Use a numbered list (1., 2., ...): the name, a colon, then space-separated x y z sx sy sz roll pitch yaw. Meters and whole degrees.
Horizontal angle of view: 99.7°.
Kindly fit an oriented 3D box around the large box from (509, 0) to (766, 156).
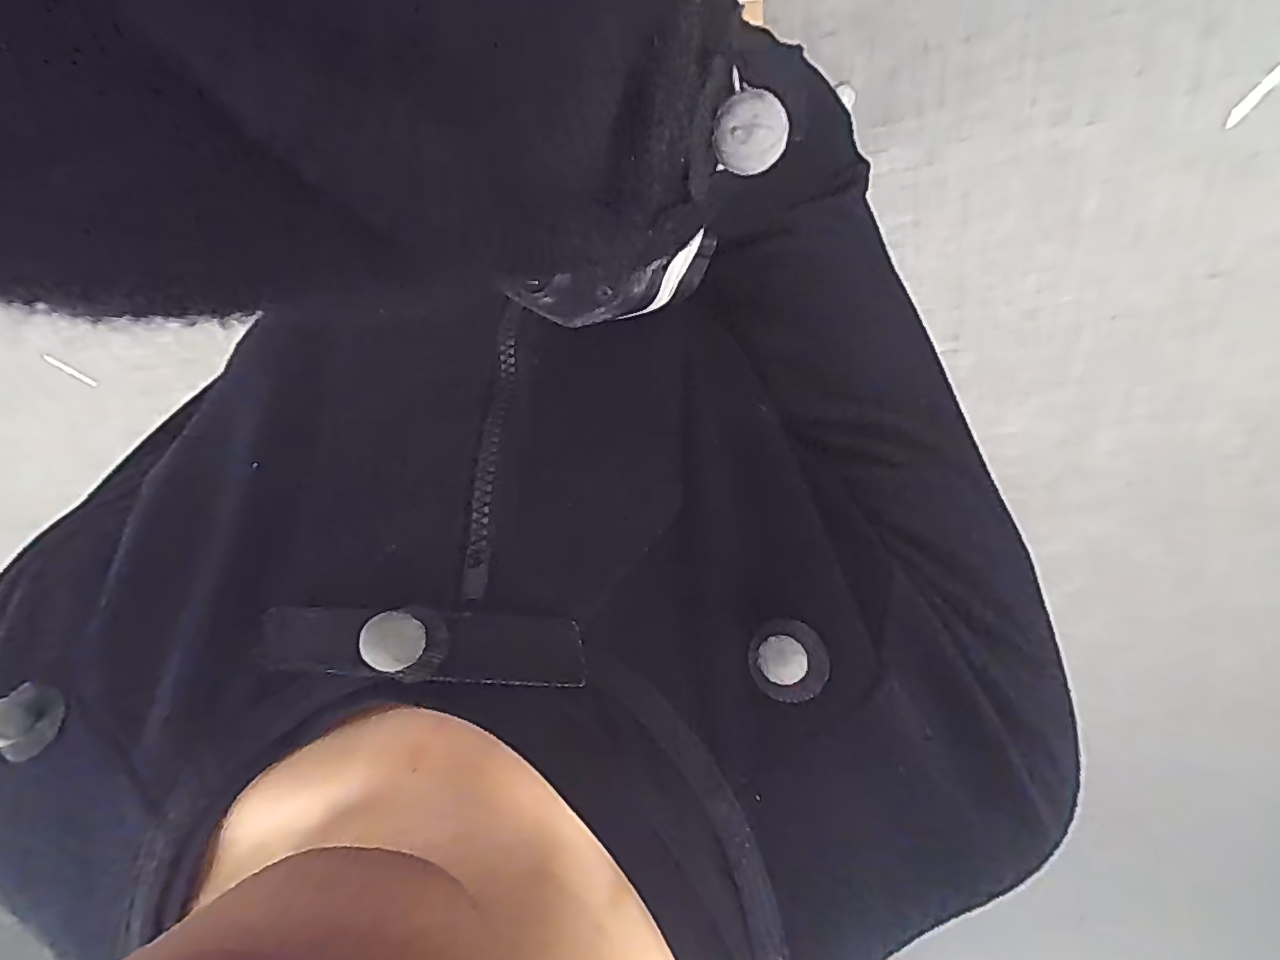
1. large box: 0.002 -0.798 0.985 0.408 0.320 0.320 -4 120 5
